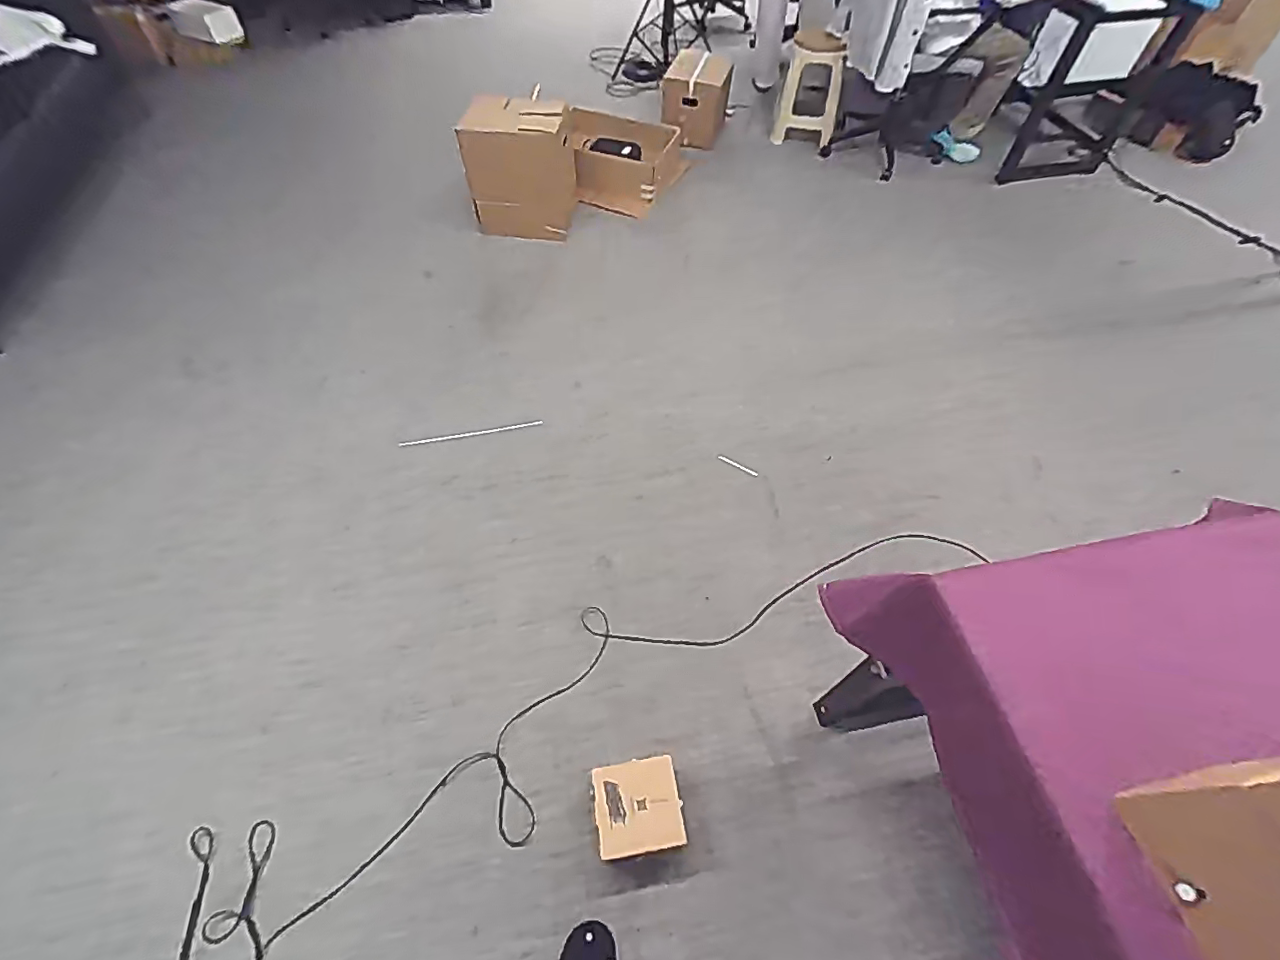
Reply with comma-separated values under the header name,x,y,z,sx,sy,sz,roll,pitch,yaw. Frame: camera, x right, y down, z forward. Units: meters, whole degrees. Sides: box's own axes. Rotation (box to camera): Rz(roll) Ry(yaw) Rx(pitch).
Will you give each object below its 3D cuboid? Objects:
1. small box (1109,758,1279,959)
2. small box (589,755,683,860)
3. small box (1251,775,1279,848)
name,x,y,z,sx,sy,sz,roll,pitch,yaw
small box,0.640,0.383,0.532,0.168,0.176,0.179,-9,57,-8
small box,-0.011,0.716,1.178,0.179,0.176,0.168,-7,56,-7
small box,0.648,0.289,0.396,0.179,0.176,0.168,-8,55,-7
